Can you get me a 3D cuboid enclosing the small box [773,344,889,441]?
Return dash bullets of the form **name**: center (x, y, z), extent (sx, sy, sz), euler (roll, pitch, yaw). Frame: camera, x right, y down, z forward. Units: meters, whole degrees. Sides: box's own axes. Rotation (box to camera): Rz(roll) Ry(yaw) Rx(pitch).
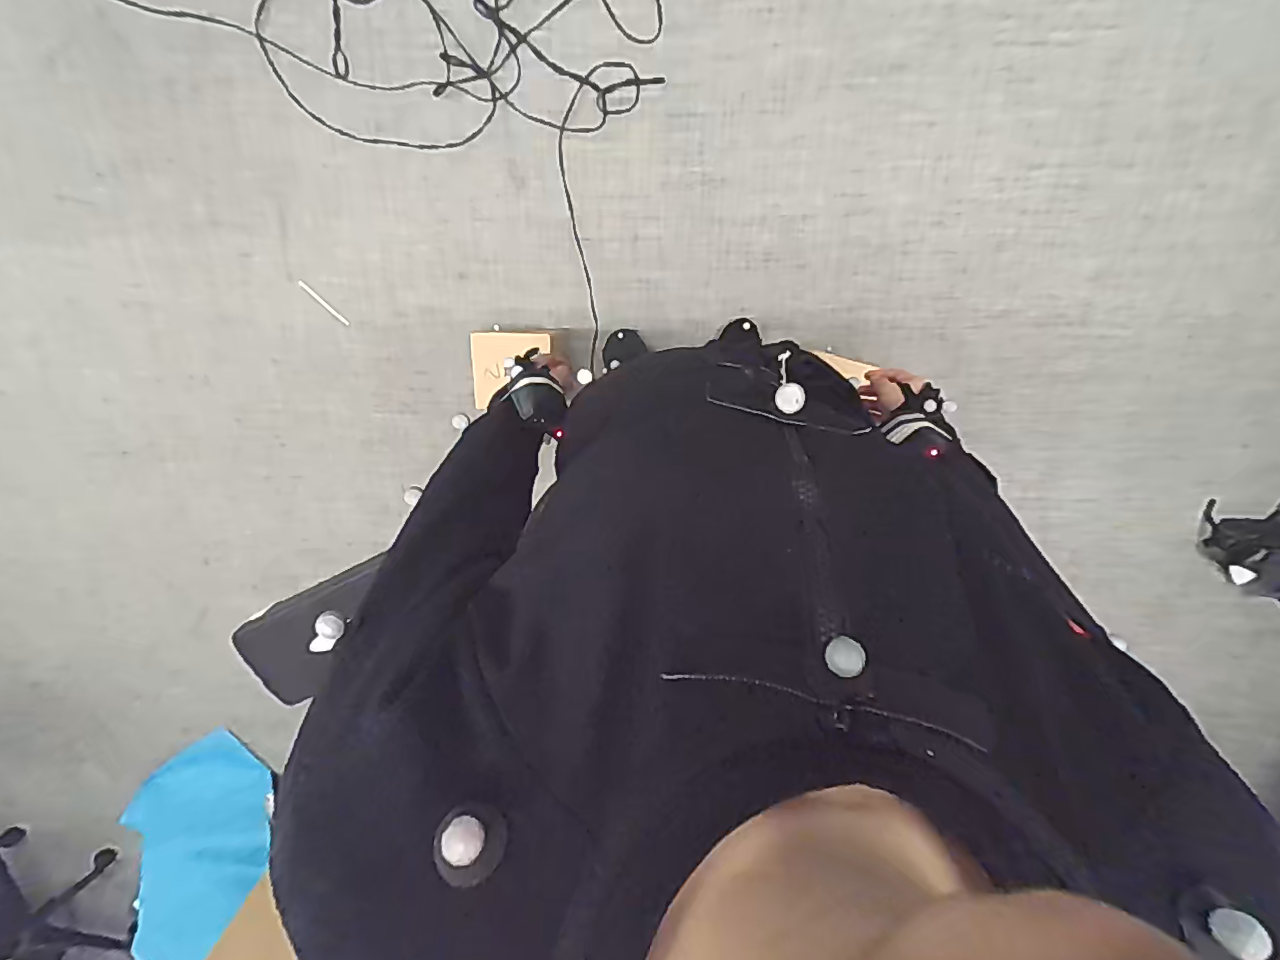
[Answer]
- **small box**: center (0.422, -0.206, 1.228), extent (0.179, 0.176, 0.168), euler (14, 109, -2)
